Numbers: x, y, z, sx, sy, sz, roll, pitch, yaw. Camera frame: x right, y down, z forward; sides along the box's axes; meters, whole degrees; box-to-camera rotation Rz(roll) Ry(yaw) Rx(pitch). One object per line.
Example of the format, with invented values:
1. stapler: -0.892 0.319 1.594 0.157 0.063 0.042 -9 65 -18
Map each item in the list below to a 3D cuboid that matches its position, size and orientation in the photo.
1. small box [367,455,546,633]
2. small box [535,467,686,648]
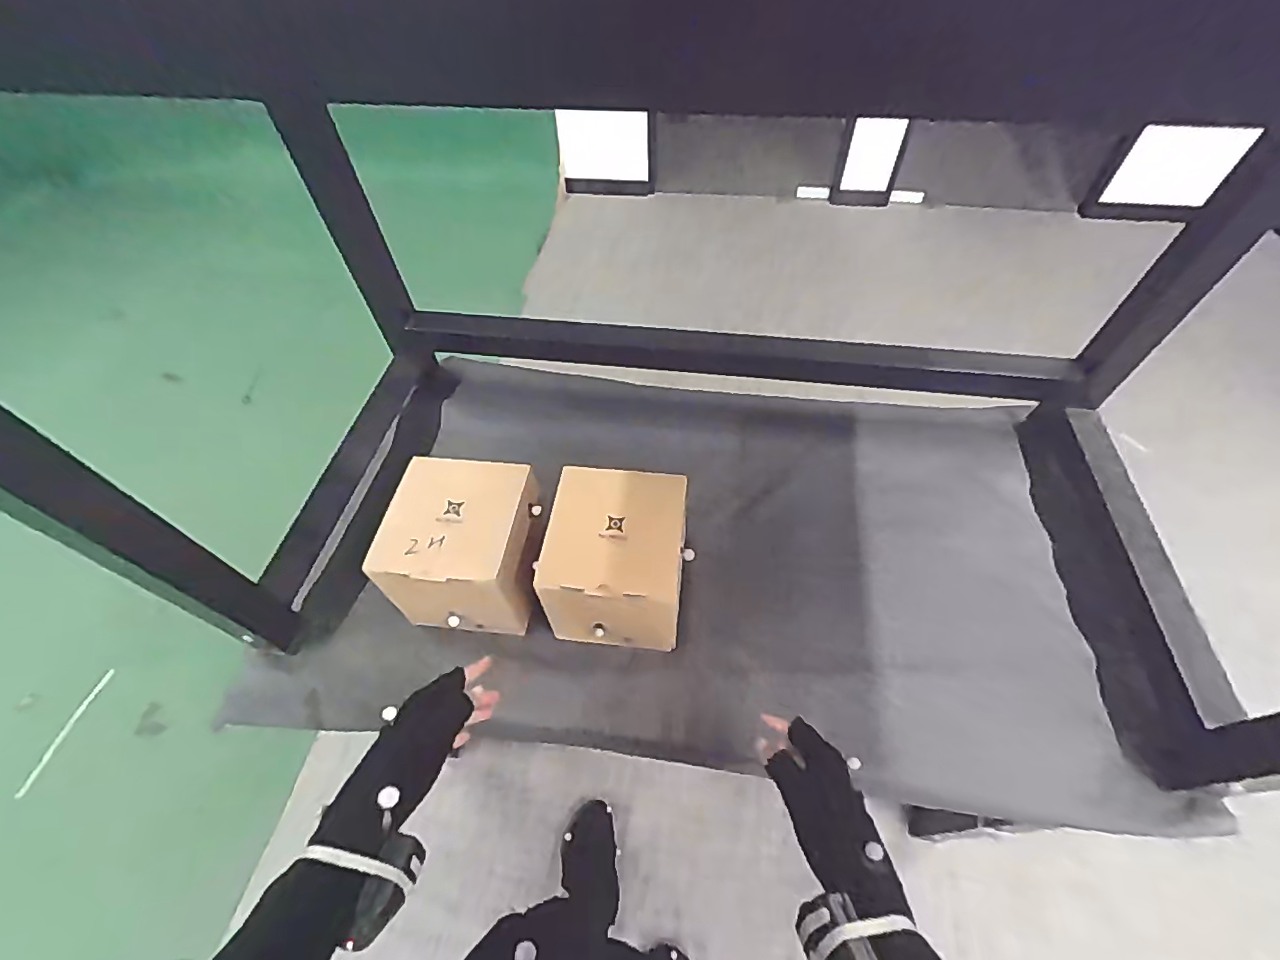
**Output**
1. small box: -0.232 0.089 0.744 0.168 0.176 0.179 4 54 5
2. small box: -0.030 0.106 0.729 0.168 0.176 0.179 4 54 6
